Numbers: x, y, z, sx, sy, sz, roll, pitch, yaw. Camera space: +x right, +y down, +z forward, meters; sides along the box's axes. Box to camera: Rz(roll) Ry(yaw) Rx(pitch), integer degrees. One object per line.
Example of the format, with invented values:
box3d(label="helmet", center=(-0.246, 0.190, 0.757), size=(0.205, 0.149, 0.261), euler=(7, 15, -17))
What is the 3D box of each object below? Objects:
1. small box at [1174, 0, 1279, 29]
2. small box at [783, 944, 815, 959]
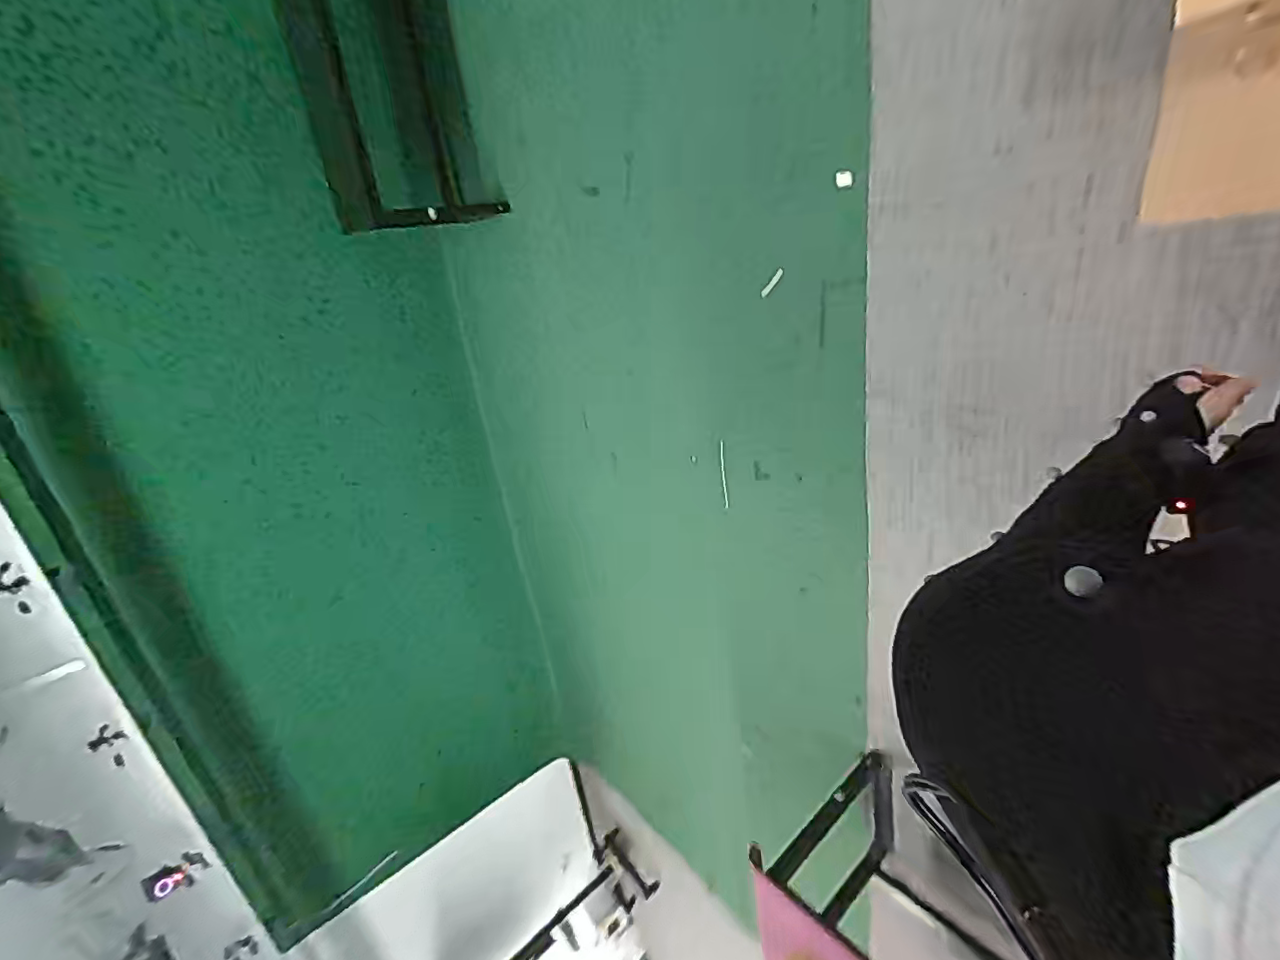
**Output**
box3d(label="small box", center=(0.769, -0.668, 0.632), size=(0.168, 0.176, 0.179), euler=(14, 119, 51))
box3d(label="small box", center=(0.502, 1.584, 1.639), size=(0.168, 0.176, 0.179), euler=(13, 121, 49))
